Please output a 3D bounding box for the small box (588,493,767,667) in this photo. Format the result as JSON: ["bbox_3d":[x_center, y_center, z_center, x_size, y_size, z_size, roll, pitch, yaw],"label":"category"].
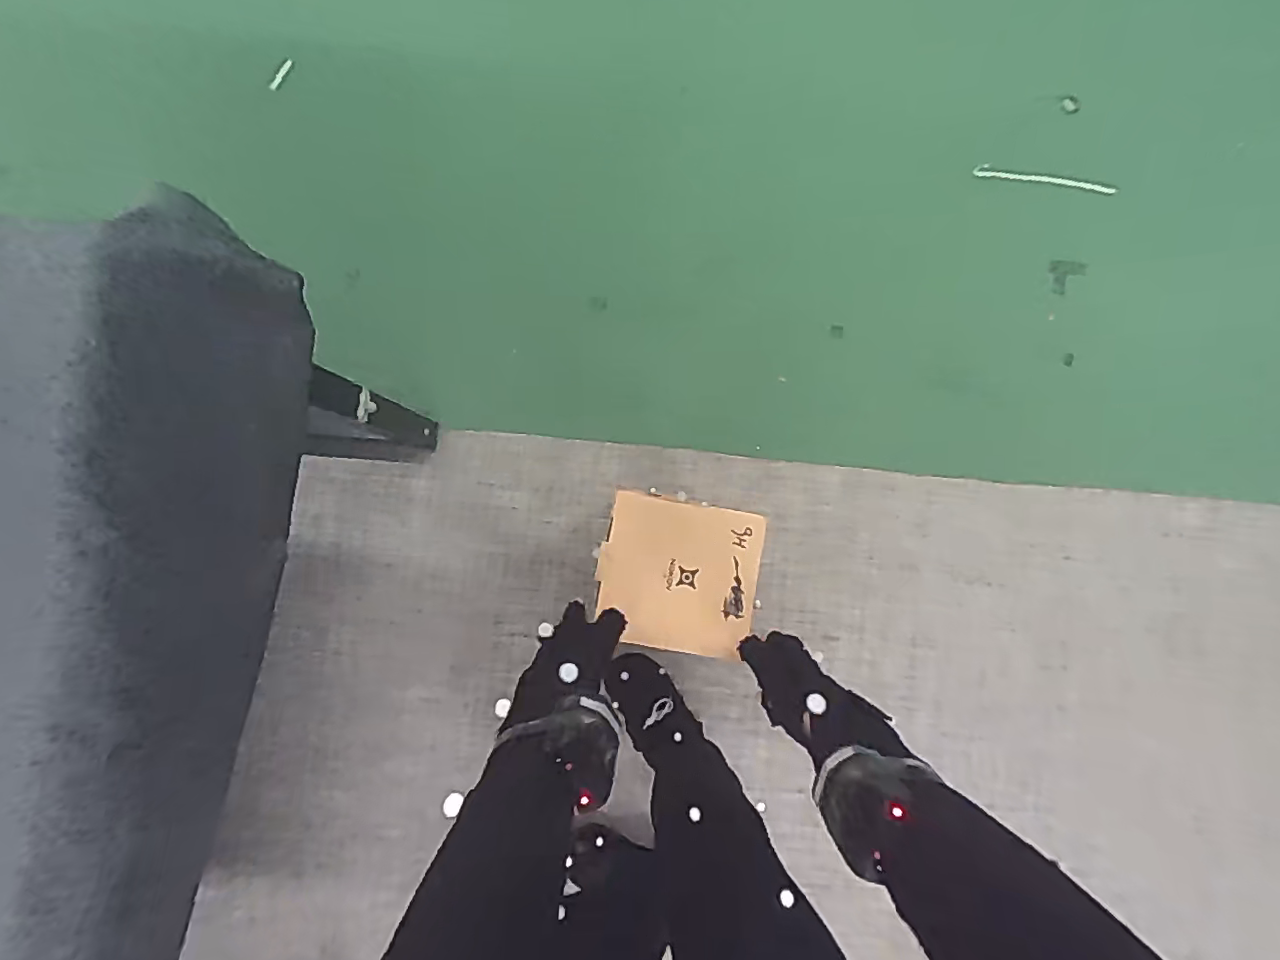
[{"bbox_3d":[0.043,0.117,0.680,0.179,0.176,0.168,11,86,1],"label":"small box"}]
